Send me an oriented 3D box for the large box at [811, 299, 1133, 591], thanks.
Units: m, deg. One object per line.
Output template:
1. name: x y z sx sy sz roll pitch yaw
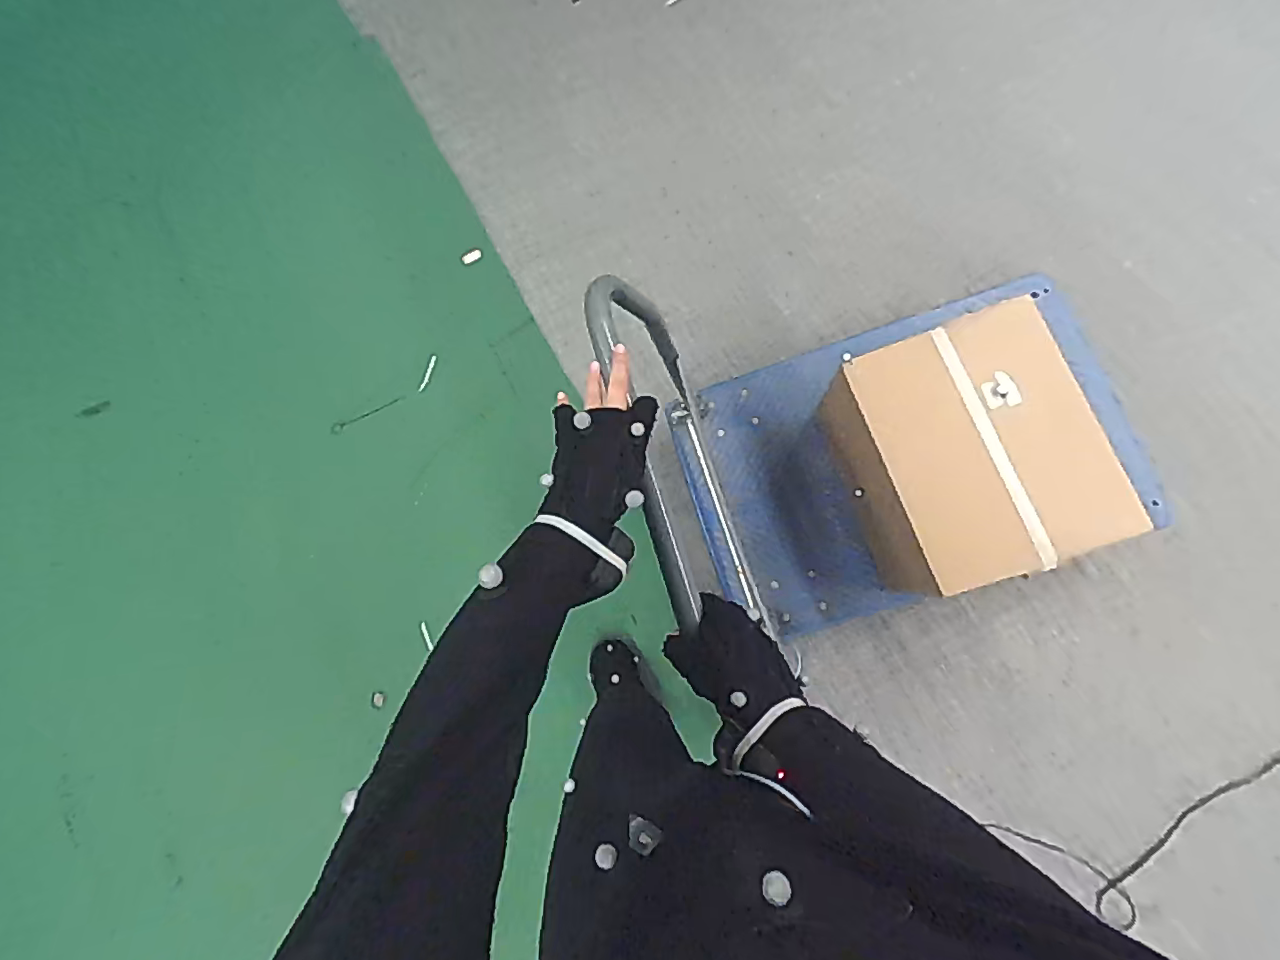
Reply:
1. large box: 0.553 -0.038 1.001 0.320 0.320 0.408 -20 77 6
